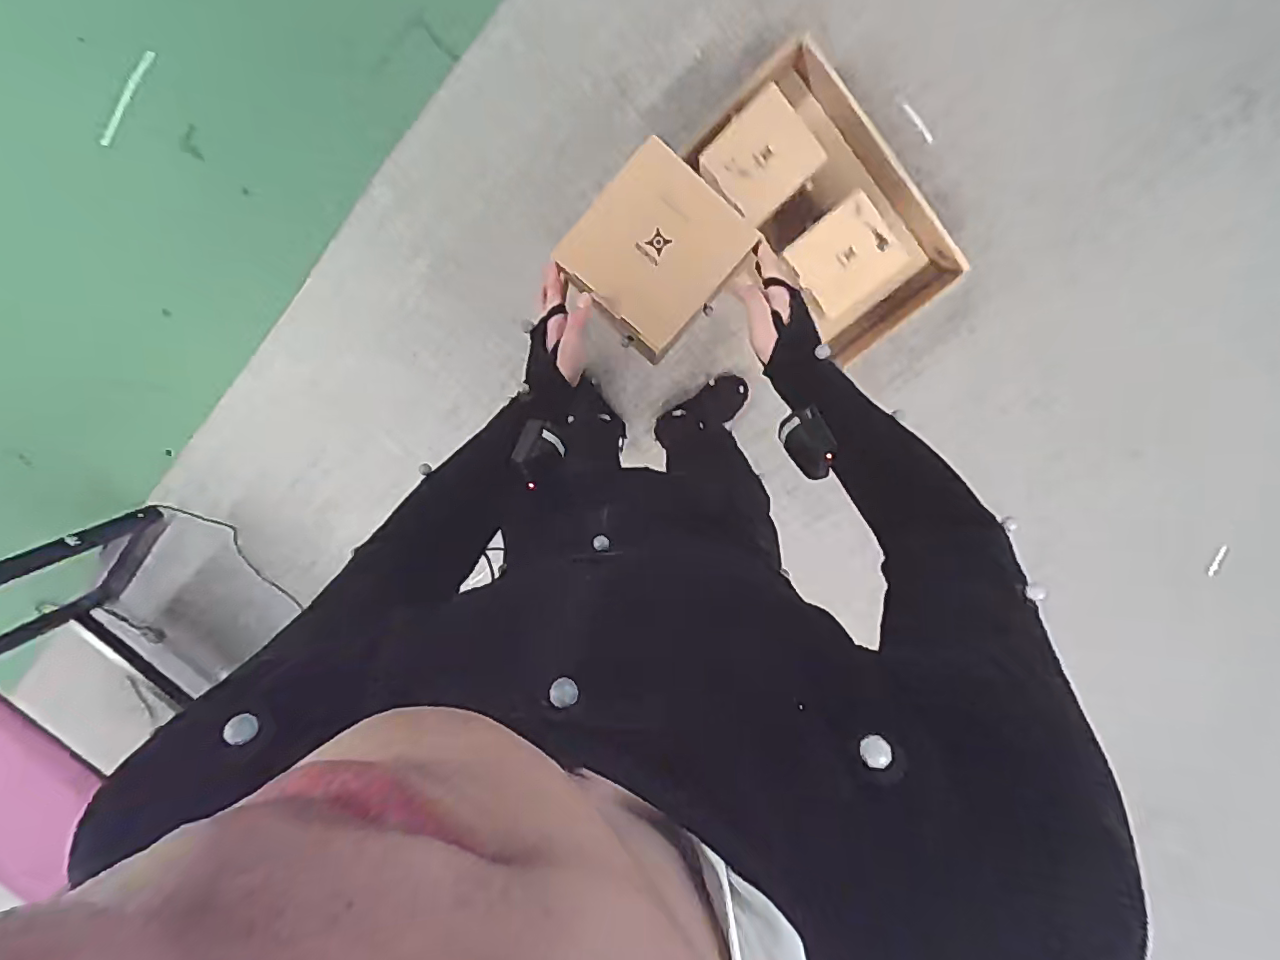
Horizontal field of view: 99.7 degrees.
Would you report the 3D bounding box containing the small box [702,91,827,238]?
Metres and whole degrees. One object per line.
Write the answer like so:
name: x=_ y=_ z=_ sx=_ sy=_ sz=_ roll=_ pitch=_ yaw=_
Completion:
small box: x=0.238 y=-0.613 z=1.077 sx=0.179 sy=0.176 sz=0.168 roll=-38 pitch=99 yaw=18
